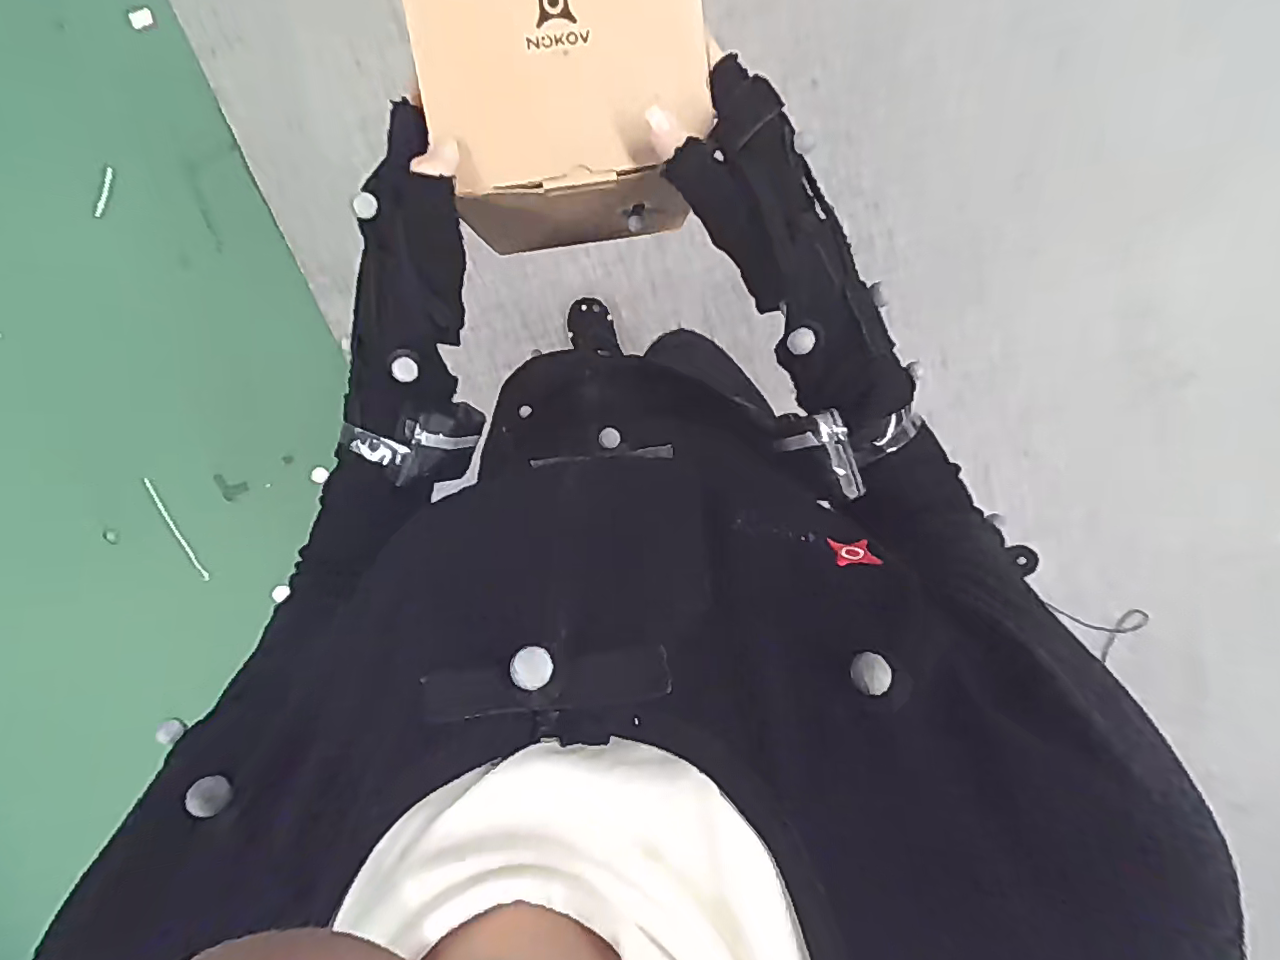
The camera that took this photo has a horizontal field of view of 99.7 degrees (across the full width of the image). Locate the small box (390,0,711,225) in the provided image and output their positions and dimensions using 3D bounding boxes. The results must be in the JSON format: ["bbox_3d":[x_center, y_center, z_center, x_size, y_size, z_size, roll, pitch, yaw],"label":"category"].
[{"bbox_3d":[-0.056,-0.287,0.367,0.168,0.176,0.179,-12,104,1],"label":"small box"}]
